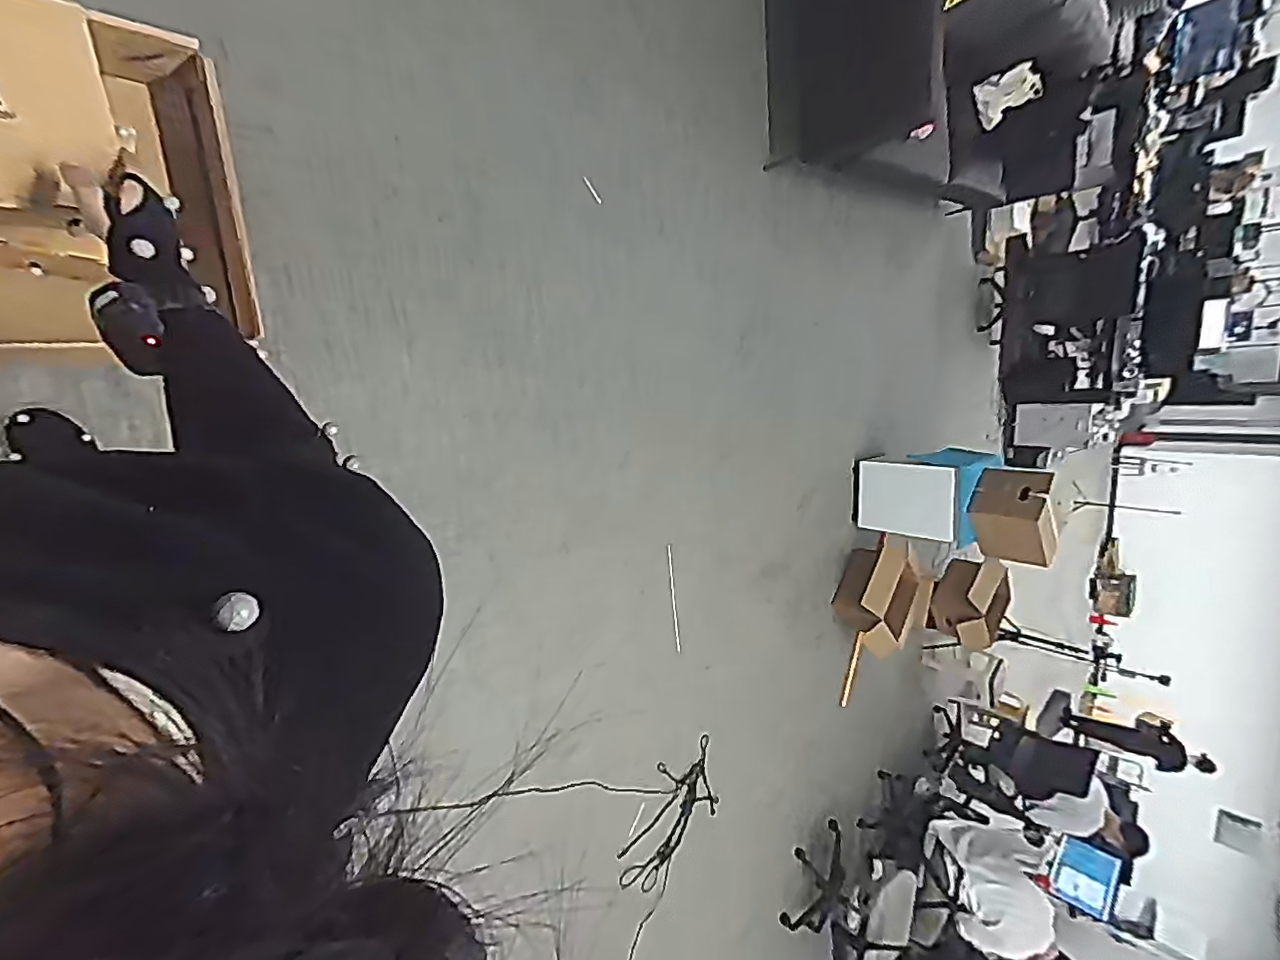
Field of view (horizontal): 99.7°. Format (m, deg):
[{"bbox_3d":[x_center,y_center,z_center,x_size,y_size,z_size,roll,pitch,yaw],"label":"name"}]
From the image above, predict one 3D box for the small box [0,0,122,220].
[{"bbox_3d":[-0.611,-0.349,0.498,0.168,0.176,0.179,-17,114,-43],"label":"small box"}]
